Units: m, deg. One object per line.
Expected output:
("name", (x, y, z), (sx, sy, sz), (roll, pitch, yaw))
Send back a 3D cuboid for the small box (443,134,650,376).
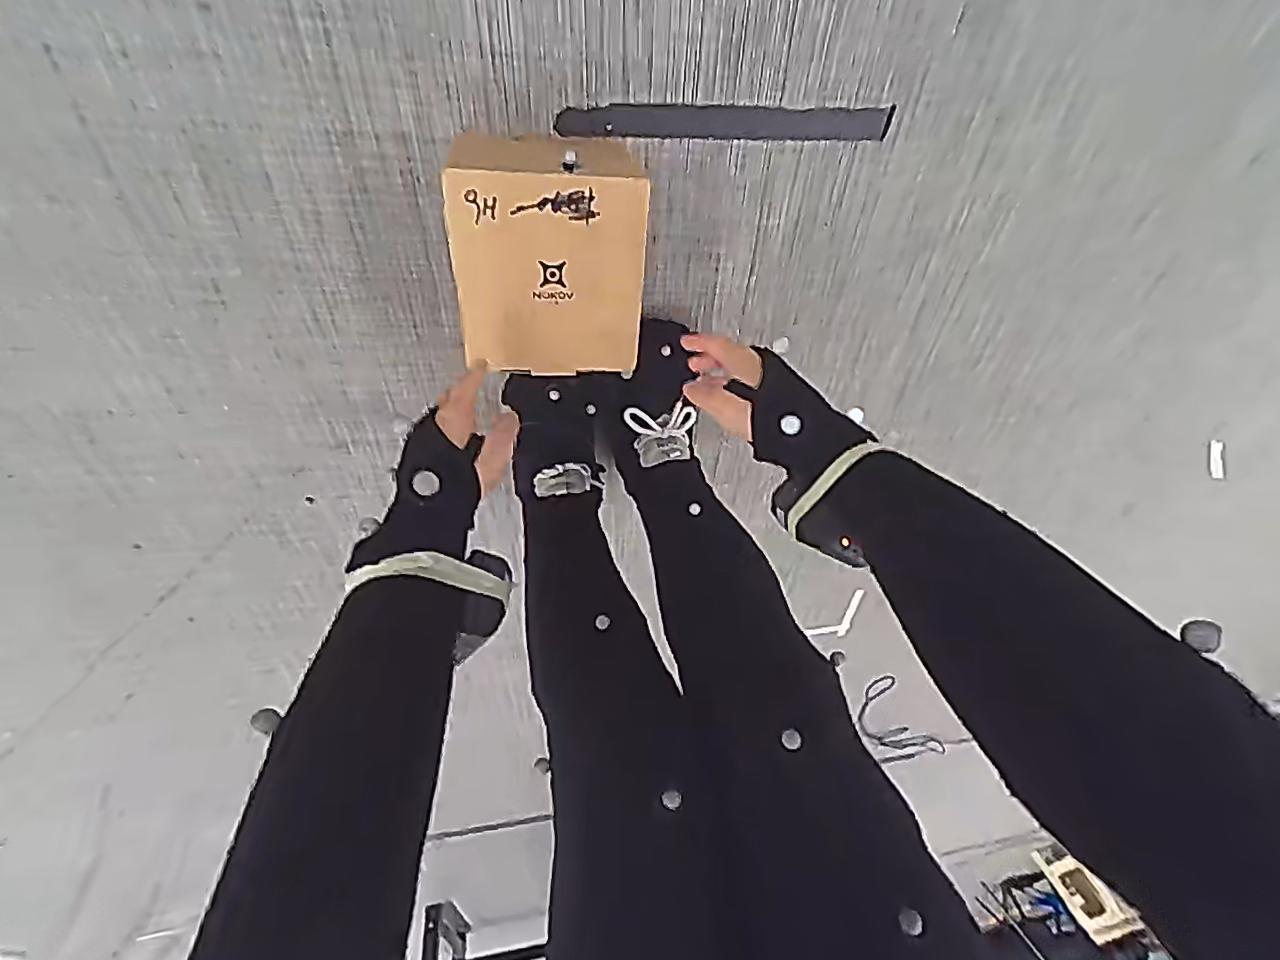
("small box", (-0.092, -0.222, 0.538), (0.168, 0.176, 0.179), (-3, 131, -11))
